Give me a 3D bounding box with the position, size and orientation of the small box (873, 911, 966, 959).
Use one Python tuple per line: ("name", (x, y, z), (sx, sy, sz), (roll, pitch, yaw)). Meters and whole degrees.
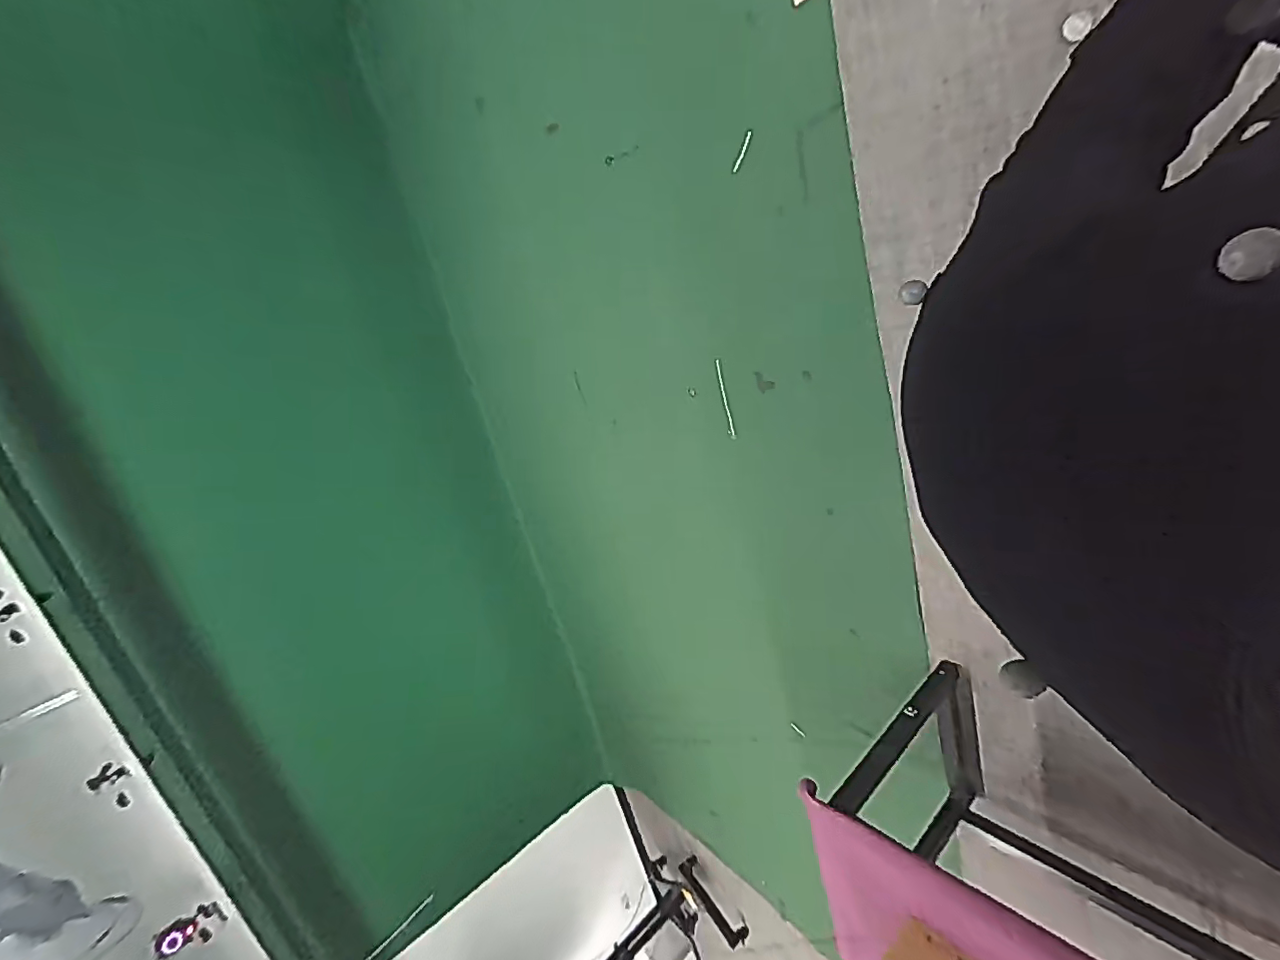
("small box", (0.619, 1.108, 1.178), (0.168, 0.176, 0.179), (15, 124, 52))
